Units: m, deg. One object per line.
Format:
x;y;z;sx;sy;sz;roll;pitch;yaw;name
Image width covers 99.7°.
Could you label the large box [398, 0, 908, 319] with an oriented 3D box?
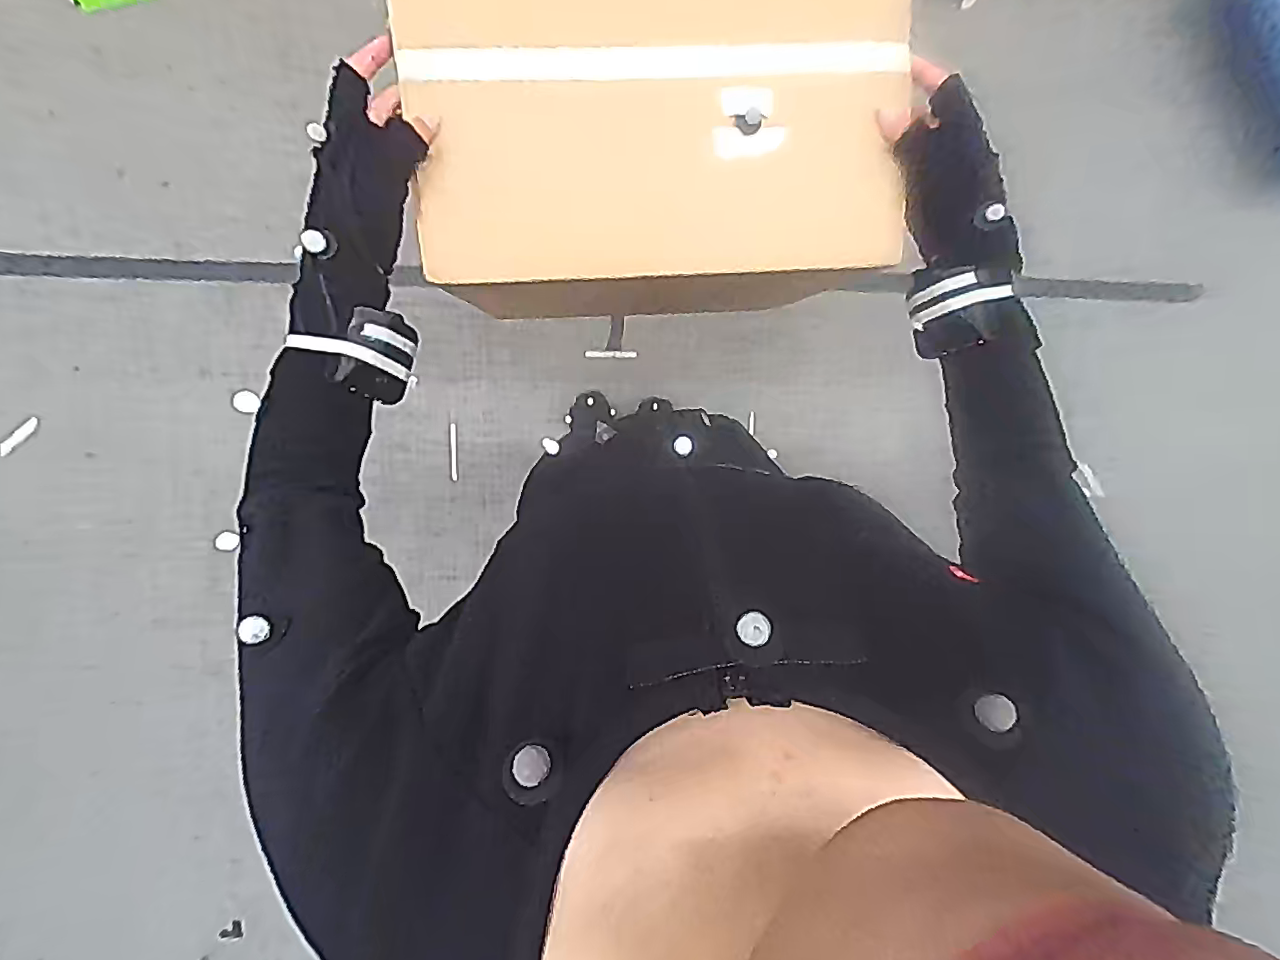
0.003;-0.356;0.569;0.408;0.320;0.320;-5;102;-6;large box
